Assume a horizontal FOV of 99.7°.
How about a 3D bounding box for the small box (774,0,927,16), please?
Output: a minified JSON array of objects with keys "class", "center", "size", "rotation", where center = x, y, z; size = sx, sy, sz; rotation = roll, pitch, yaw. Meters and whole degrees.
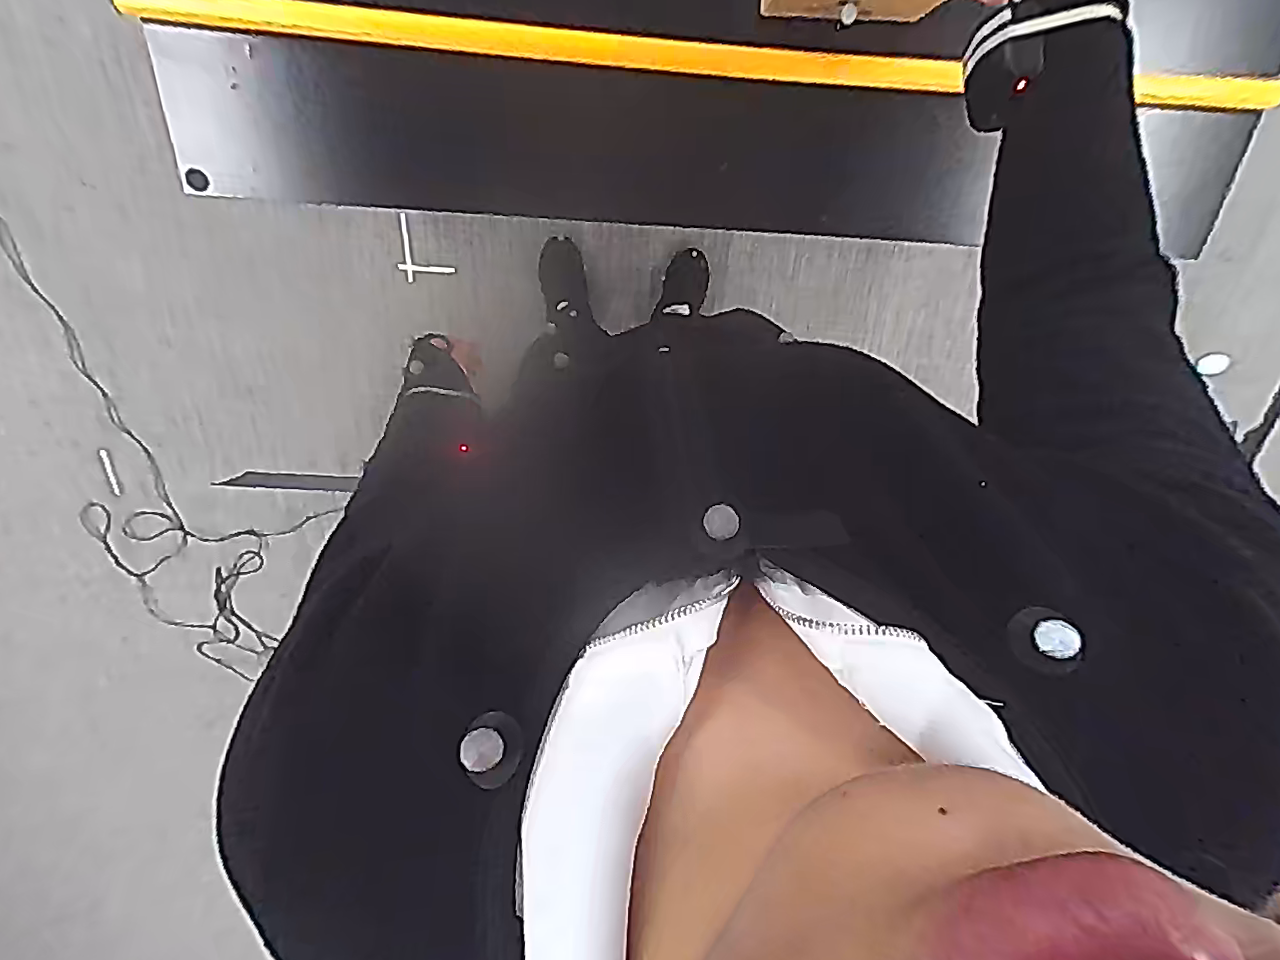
[{"class":"small box","center":[0.212,-0.533,0.454],"size":[0.168,0.176,0.179],"rotation":[0,116,-3]}]
